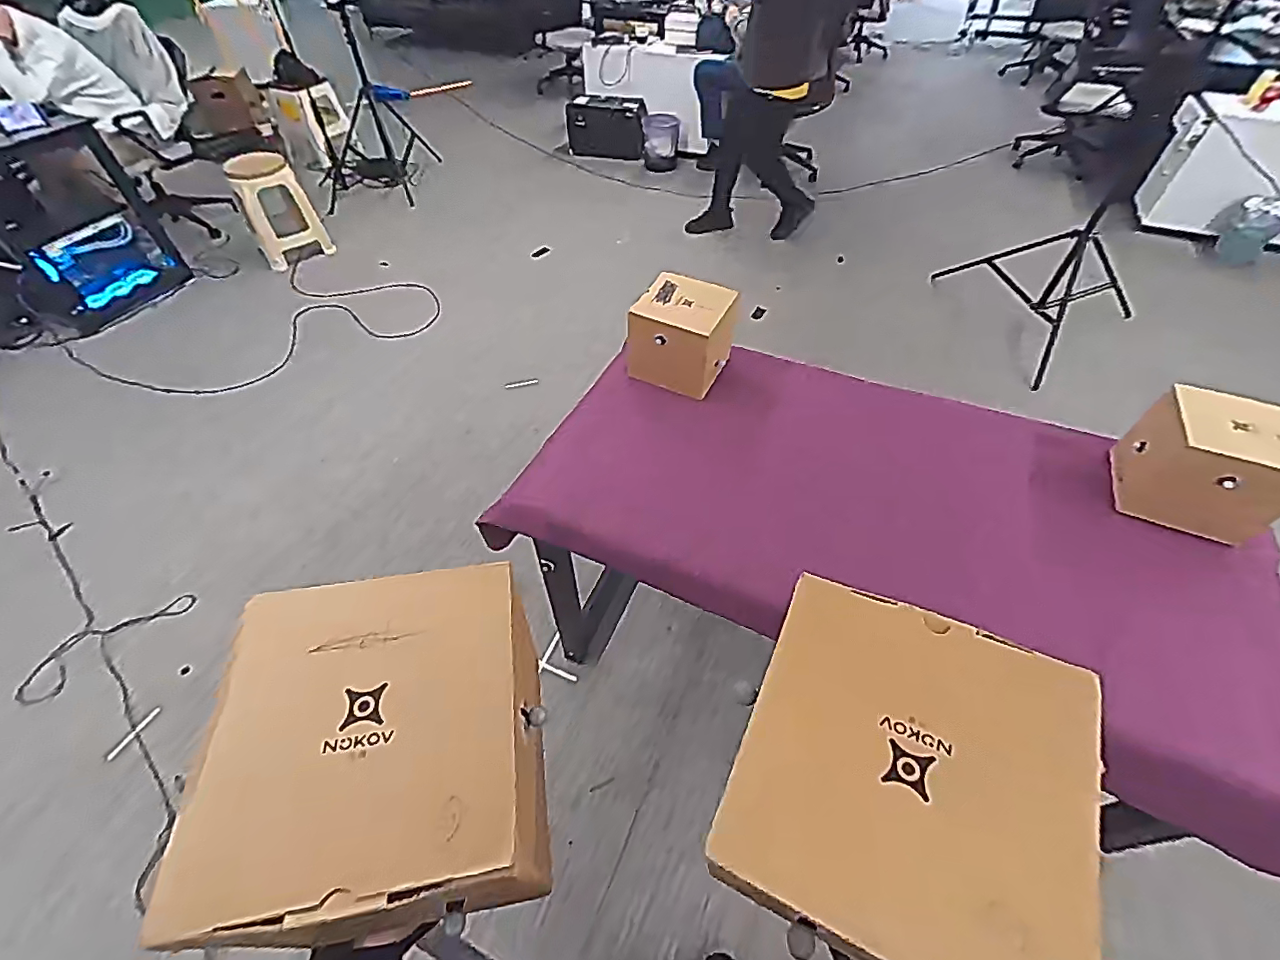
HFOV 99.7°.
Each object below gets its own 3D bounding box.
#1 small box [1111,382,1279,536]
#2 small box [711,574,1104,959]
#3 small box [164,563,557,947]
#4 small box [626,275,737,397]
[{"bbox_3d":[0.935,-0.032,0.907,0.179,0.176,0.168,20,53,16],"label":"small box"},{"bbox_3d":[0.156,0.197,0.346,0.168,0.176,0.179,17,55,21],"label":"small box"},{"bbox_3d":[-0.149,0.182,0.363,0.168,0.176,0.179,-7,49,-9],"label":"small box"},{"bbox_3d":[0.085,-0.302,1.143,0.179,0.176,0.168,21,55,16],"label":"small box"}]
